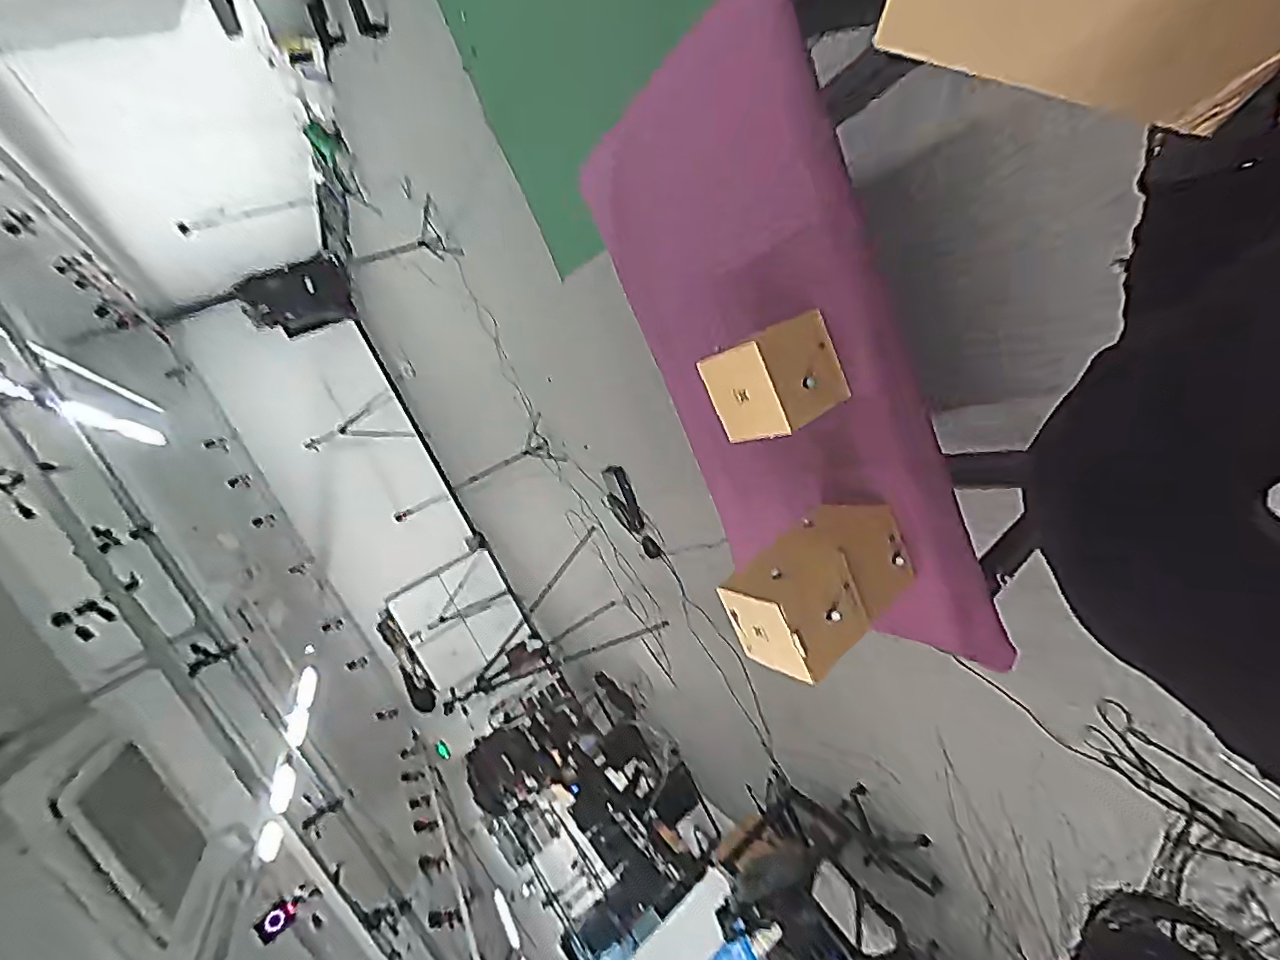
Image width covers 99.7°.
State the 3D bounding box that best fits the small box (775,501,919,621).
[{"bbox_3d":[0.409,0.150,1.073,0.179,0.176,0.168,-6,113,62],"label":"small box"}]

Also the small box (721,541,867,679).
[{"bbox_3d":[0.288,0.226,0.993,0.179,0.176,0.168,-3,116,61],"label":"small box"}]

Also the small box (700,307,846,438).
[{"bbox_3d":[0.248,-0.194,0.991,0.179,0.176,0.168,-4,115,64],"label":"small box"}]
